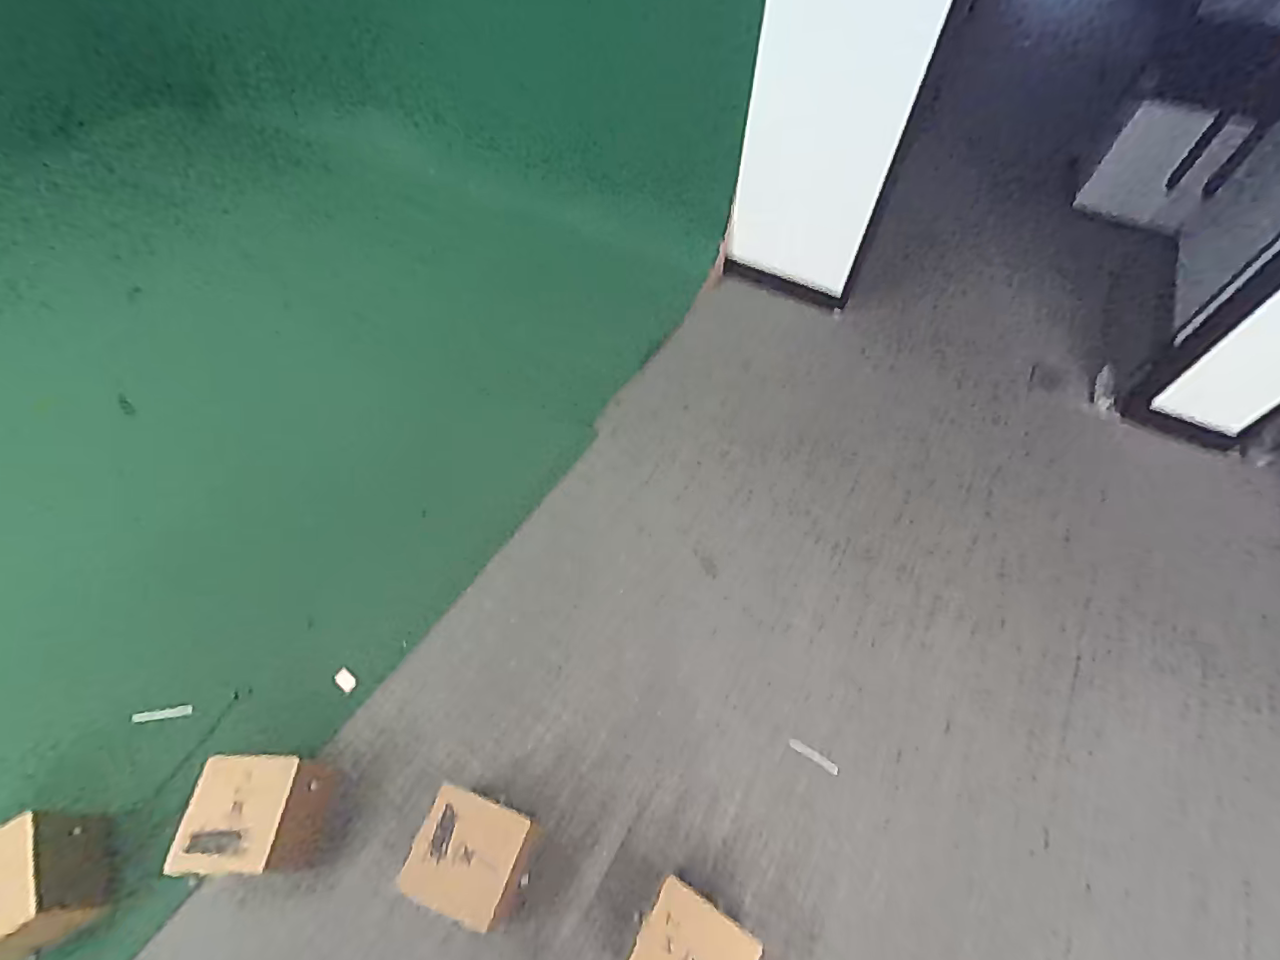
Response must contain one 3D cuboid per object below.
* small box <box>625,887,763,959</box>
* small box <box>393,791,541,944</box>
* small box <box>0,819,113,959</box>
[{"bbox_3d":[0.077,0.805,0.887,0.179,0.176,0.168,28,57,18],"label":"small box"},{"bbox_3d":[-0.295,0.686,0.965,0.179,0.176,0.168,18,56,10],"label":"small box"},{"bbox_3d":[-1.060,0.724,0.924,0.168,0.176,0.179,-28,59,-20],"label":"small box"}]
